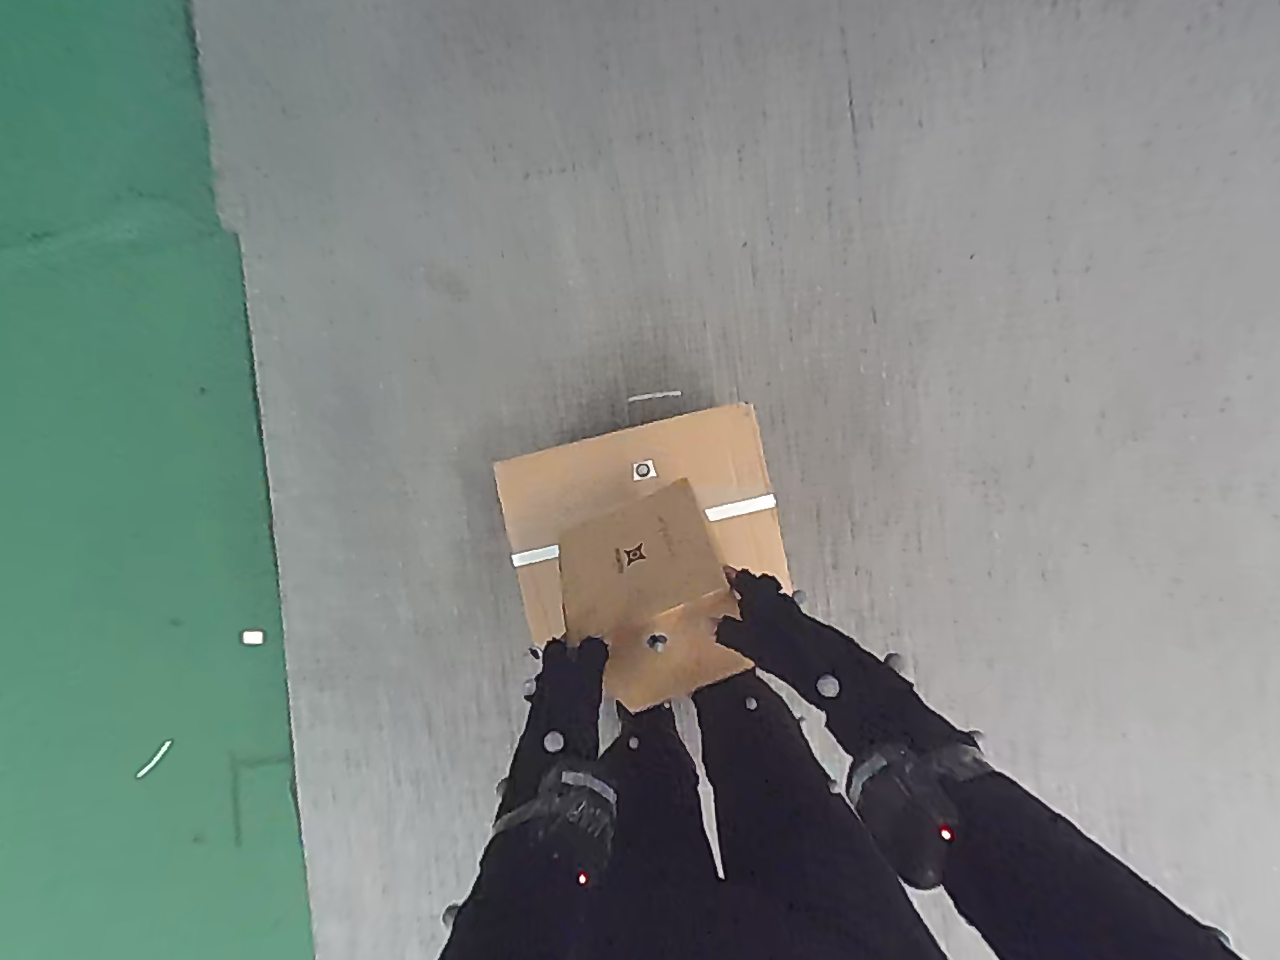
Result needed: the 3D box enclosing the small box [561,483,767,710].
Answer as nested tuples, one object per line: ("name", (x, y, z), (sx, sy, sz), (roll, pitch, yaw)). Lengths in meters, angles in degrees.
("small box", (0.026, 0.142, 0.640), (0.179, 0.168, 0.176), (-25, 129, 7))
